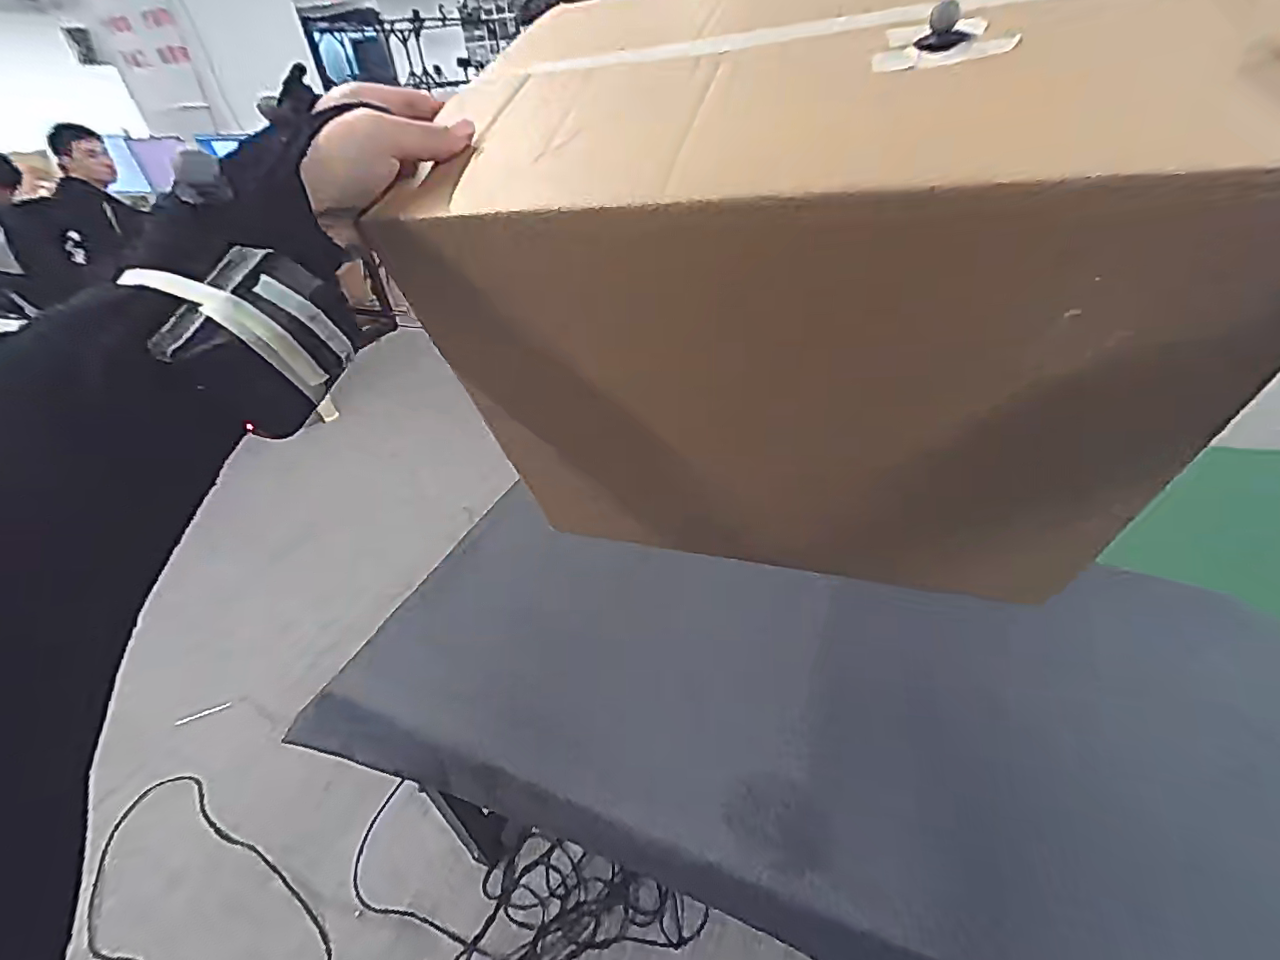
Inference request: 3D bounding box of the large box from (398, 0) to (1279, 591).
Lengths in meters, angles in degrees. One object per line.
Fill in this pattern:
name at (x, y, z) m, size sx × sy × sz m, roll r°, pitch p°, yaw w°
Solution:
large box at (0.125, -0.143, 0.415) m, size 0.408 × 0.320 × 0.320 m, roll 7°, pitch 57°, yaw 17°
